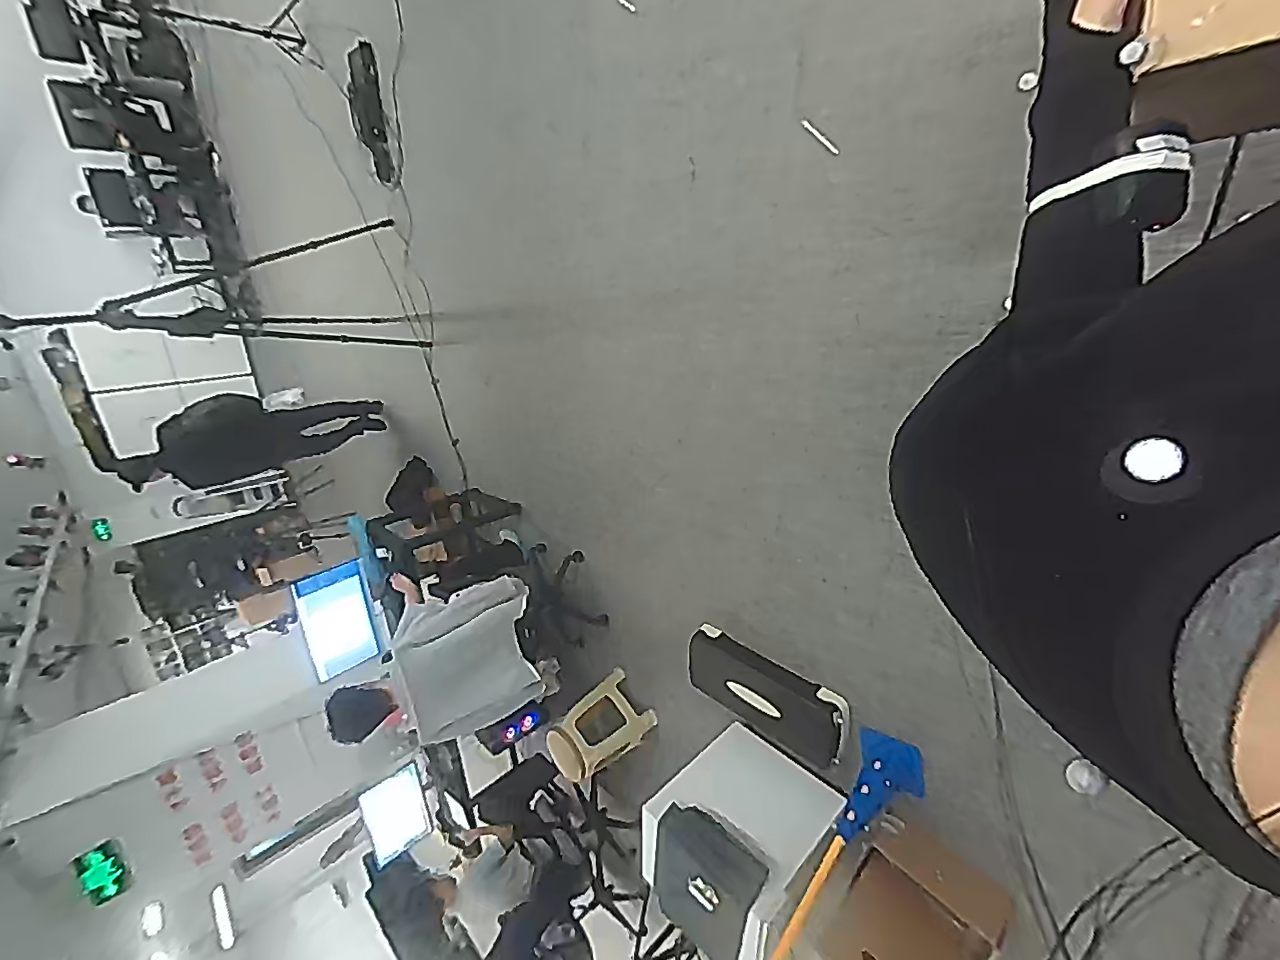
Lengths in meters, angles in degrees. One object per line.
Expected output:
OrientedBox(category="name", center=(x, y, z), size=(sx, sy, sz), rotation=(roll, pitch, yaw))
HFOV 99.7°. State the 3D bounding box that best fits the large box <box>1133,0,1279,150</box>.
OrientedBox(category="large box", center=(0.573, -0.432, 0.306), size=(0.408, 0.320, 0.320), rotation=(9, 110, 40))
